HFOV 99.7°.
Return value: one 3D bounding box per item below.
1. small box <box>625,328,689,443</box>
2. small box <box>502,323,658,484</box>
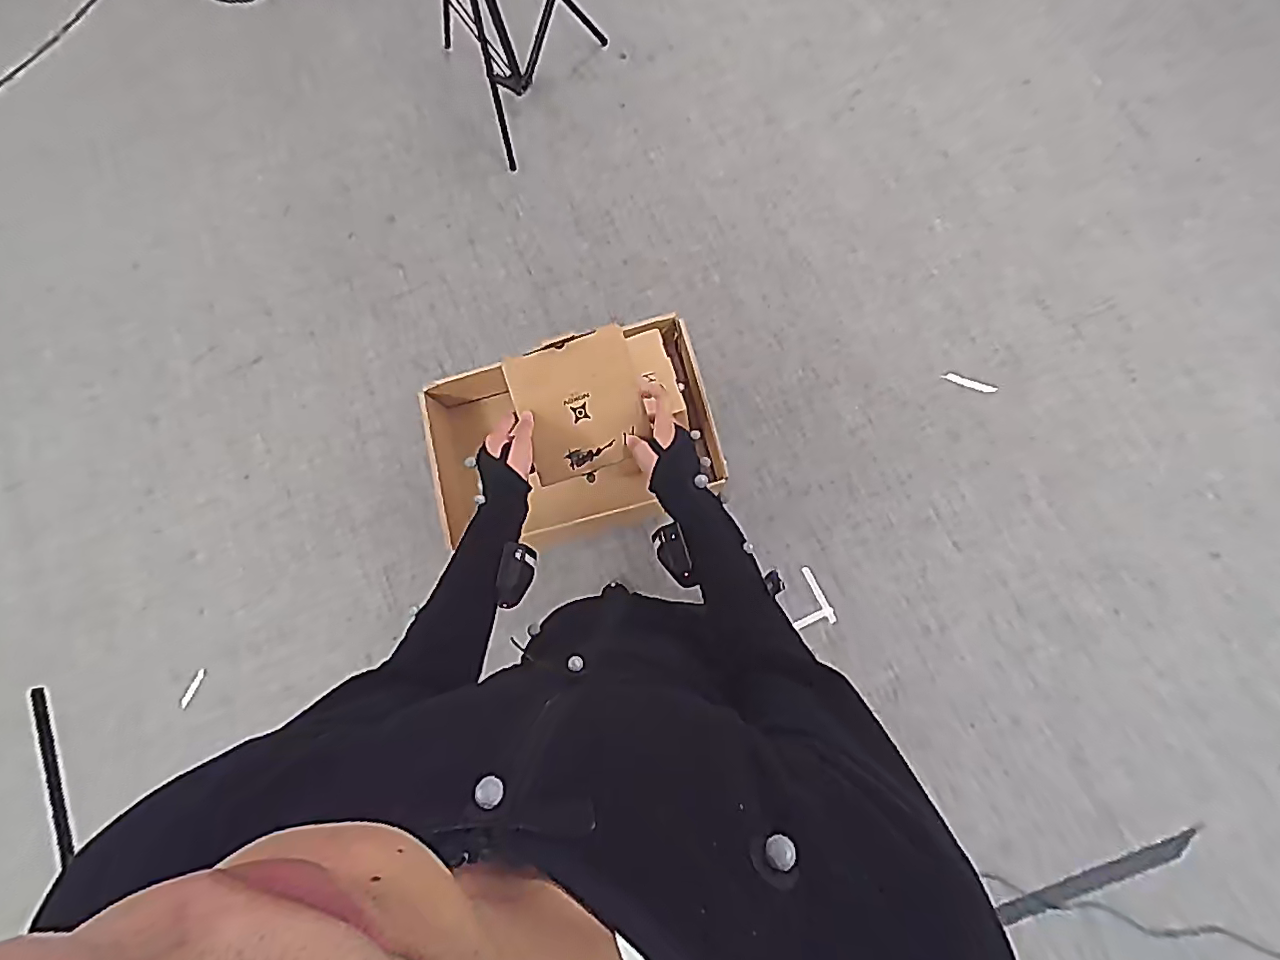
[{"bbox_3d":[-0.014,-0.157,1.035,0.179,0.176,0.168,-18,79,3],"label":"small box"},{"bbox_3d":[-0.075,-0.101,0.779,0.168,0.176,0.179,-17,92,4],"label":"small box"}]
